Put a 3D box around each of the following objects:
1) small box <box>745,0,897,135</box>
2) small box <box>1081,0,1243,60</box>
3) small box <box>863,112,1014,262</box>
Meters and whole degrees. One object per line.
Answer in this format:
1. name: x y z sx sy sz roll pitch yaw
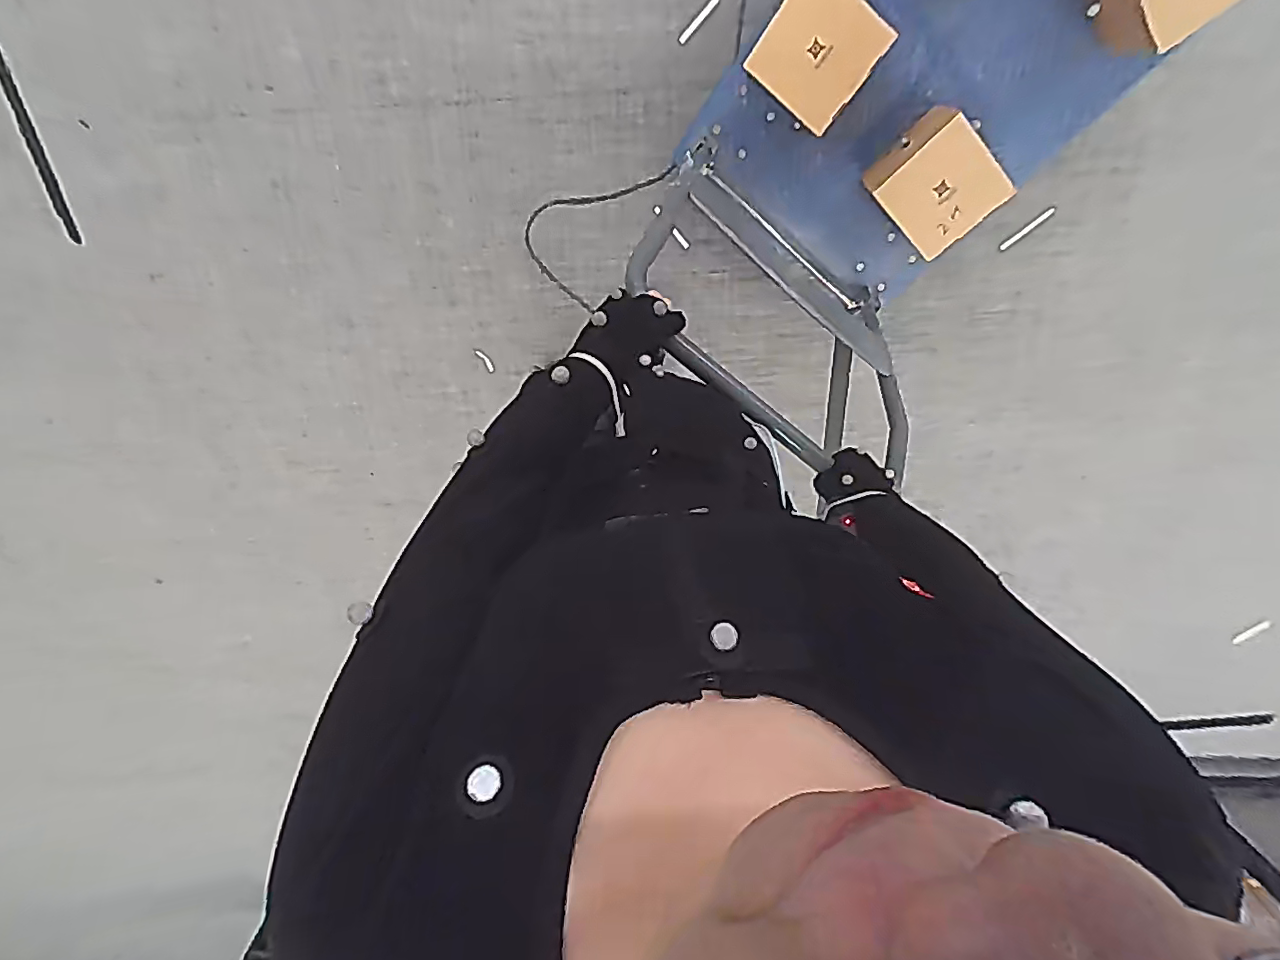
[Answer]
1. small box: 0.295 -0.730 0.922 0.179 0.176 0.168 32 127 -15
2. small box: 0.788 -0.762 0.789 0.179 0.176 0.168 -31 115 32
3. small box: 0.542 -0.548 1.008 0.179 0.176 0.168 39 126 -18
